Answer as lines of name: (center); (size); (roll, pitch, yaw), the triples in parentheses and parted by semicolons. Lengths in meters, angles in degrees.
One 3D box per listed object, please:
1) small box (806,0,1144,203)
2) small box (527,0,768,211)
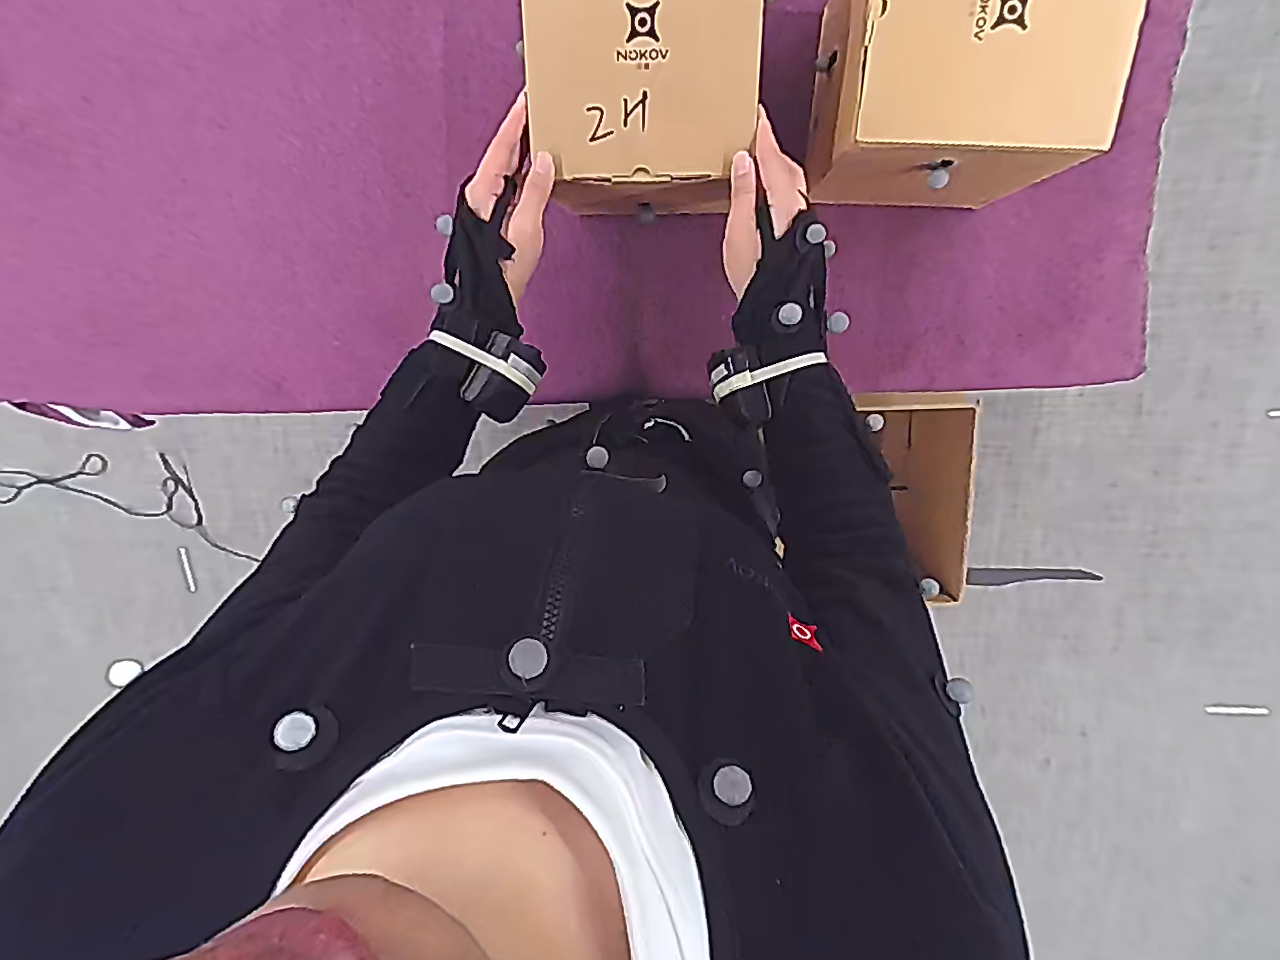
small box: (0.249, -0.334, 0.436); (0.179, 0.176, 0.168); (4, 105, 4)
small box: (0.009, -0.333, 0.445); (0.168, 0.176, 0.179); (2, 109, 4)
